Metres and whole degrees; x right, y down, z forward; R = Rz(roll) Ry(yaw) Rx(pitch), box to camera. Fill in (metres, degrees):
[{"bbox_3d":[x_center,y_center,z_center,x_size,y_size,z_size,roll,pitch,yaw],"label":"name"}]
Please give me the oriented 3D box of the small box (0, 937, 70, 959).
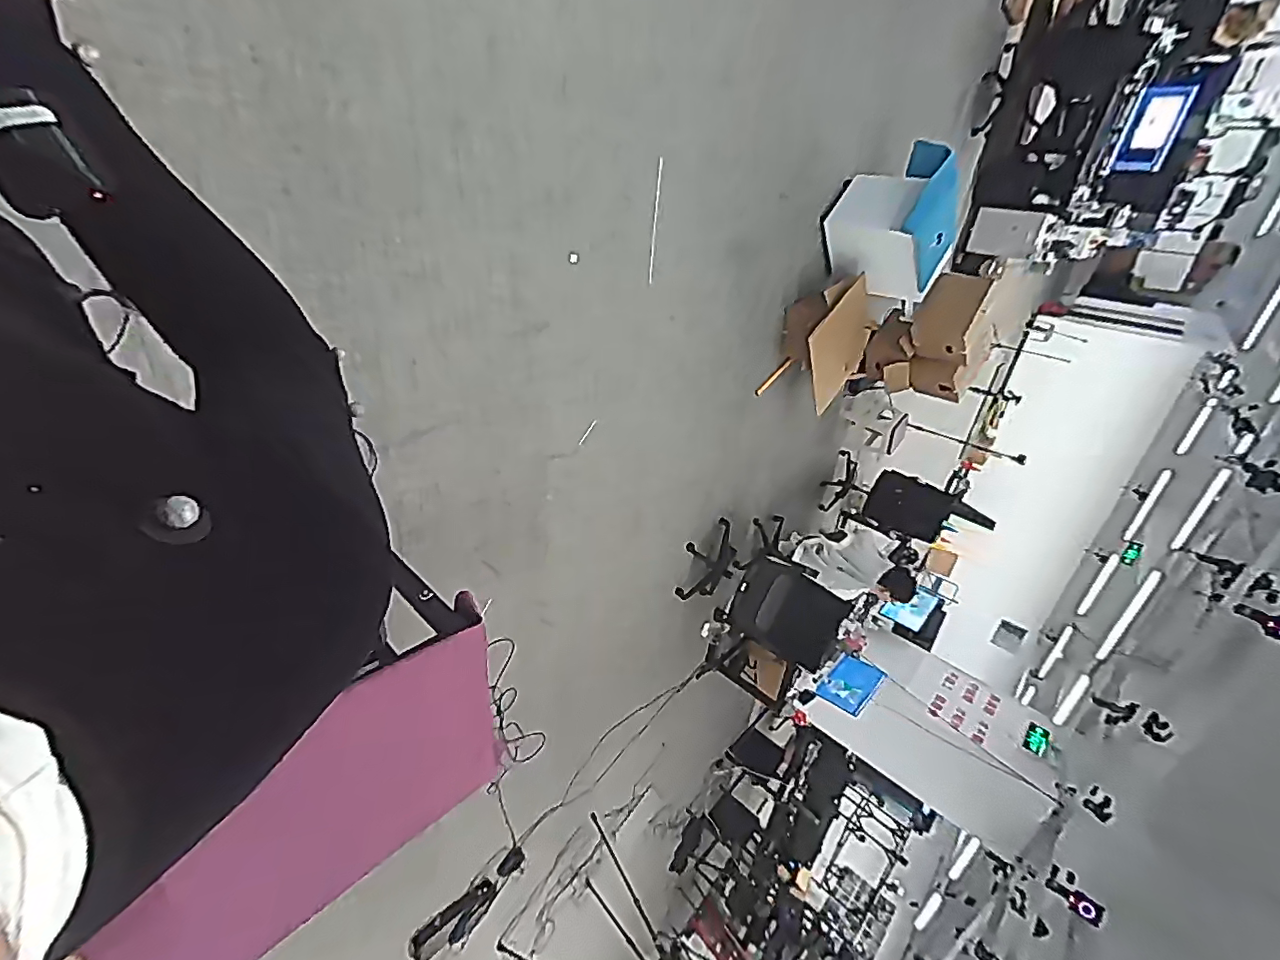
[{"bbox_3d":[-0.944,0.842,0.798,0.168,0.176,0.179,-23,130,-45],"label":"small box"}]
